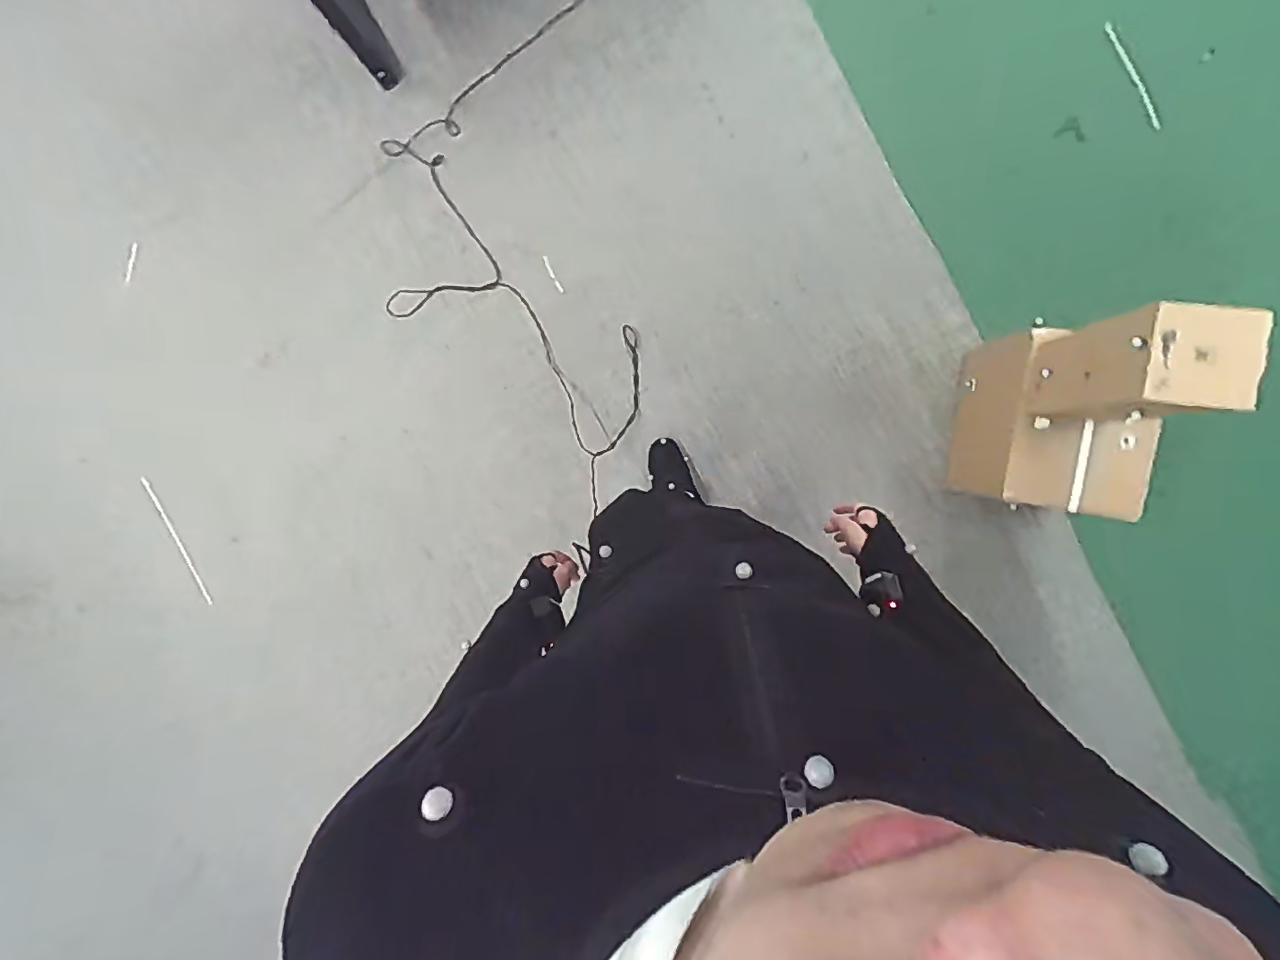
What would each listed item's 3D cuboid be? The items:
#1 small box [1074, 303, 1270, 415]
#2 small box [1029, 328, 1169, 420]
[{"bbox_3d":[0.954,-0.211,0.985,0.179,0.176,0.168,8,94,5],"label":"small box"},{"bbox_3d":[0.979,-0.220,1.147,0.179,0.176,0.168,8,94,6],"label":"small box"}]
